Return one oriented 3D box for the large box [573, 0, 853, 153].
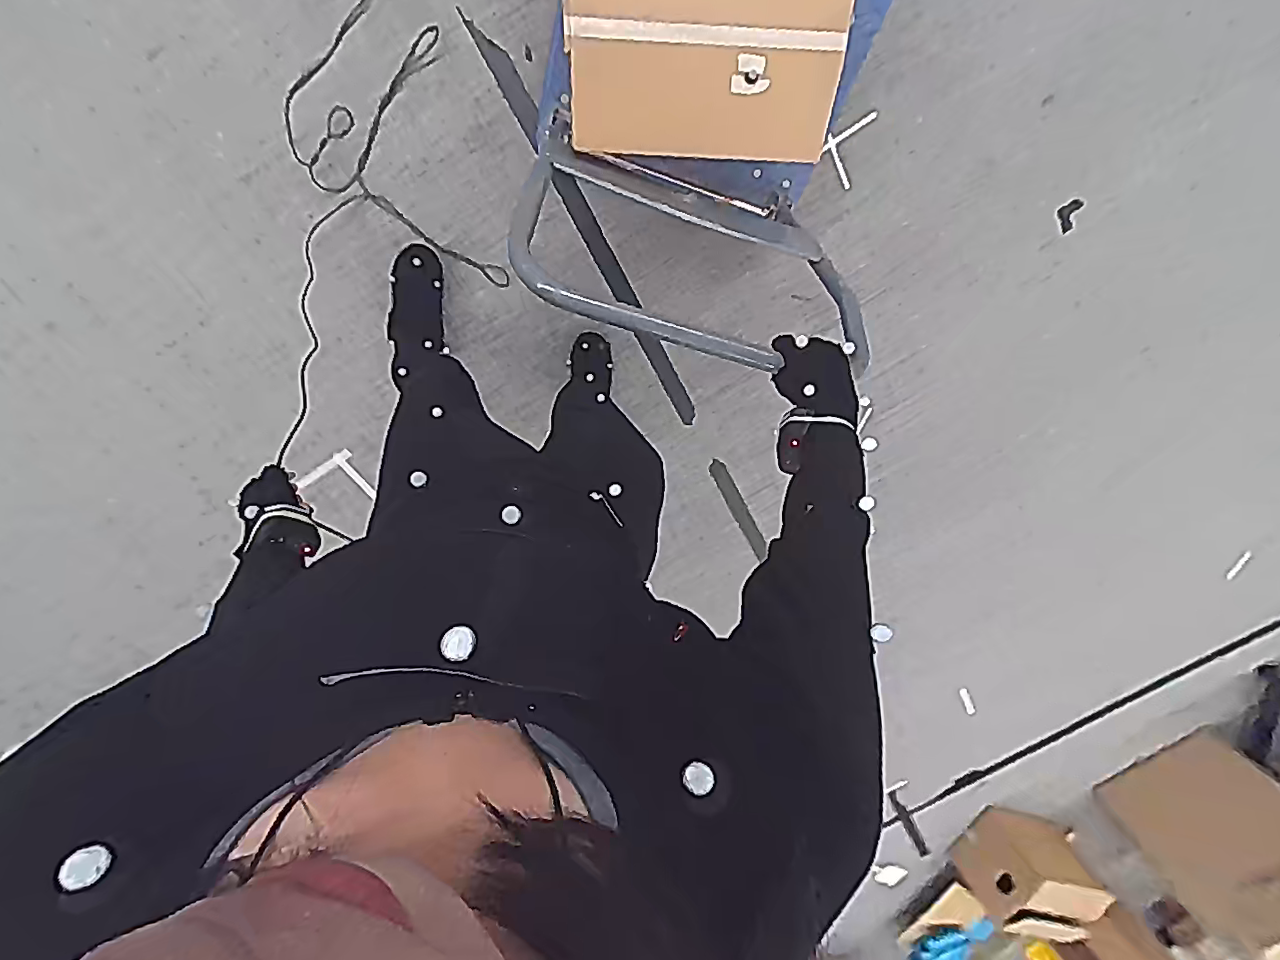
[{"bbox_3d":[0.095,-0.745,0.892,0.408,0.320,0.320,-1,130,-4],"label":"large box"}]
